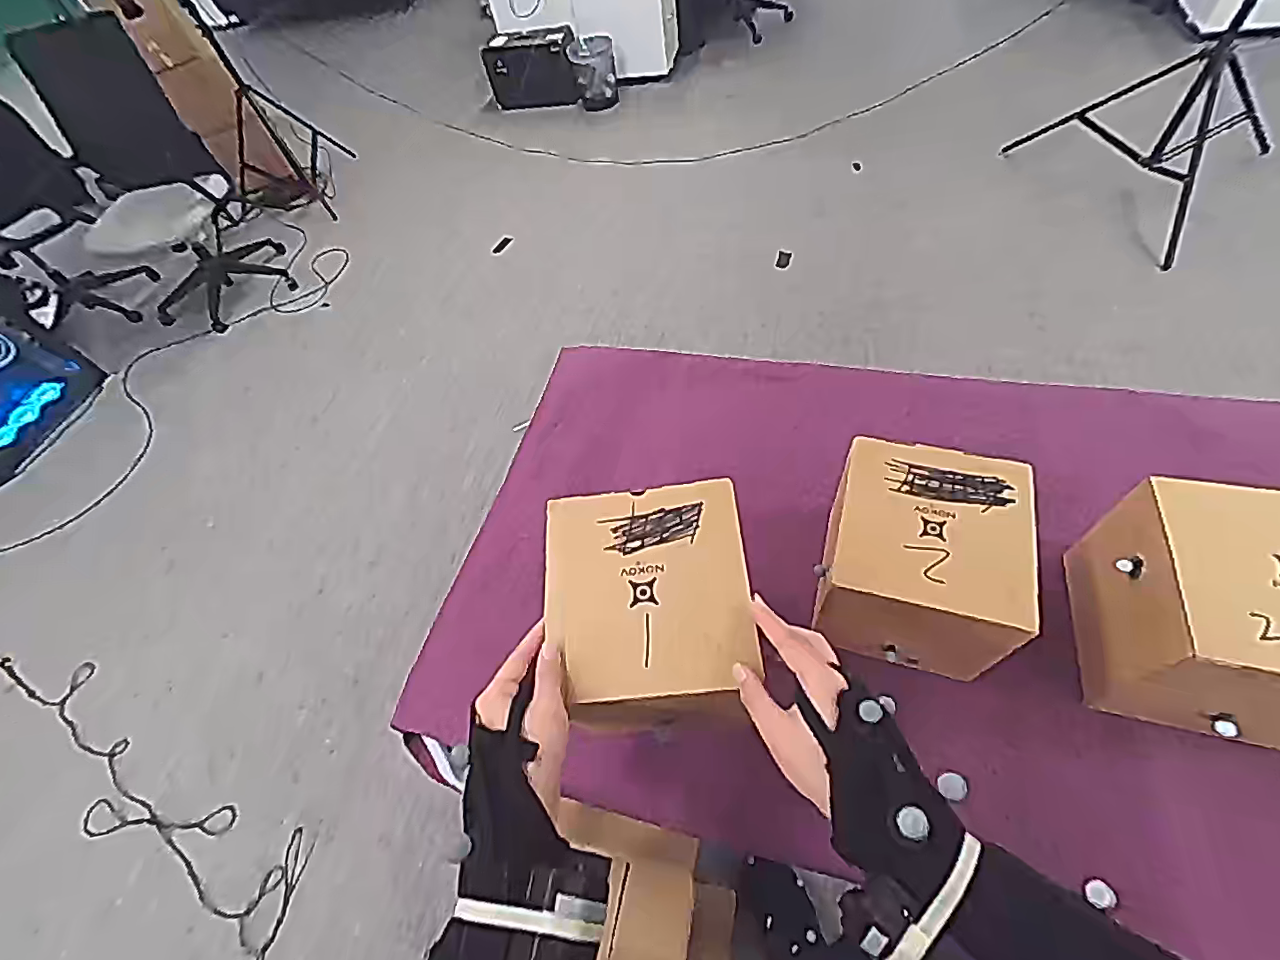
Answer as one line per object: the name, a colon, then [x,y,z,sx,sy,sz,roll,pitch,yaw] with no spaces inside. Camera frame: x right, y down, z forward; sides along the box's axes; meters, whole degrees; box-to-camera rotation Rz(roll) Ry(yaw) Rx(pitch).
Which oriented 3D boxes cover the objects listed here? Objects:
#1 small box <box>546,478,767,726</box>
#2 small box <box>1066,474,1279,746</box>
small box: [0.019,0.120,0.505,0.168,0.176,0.179,-7,58,6]
small box: [0.533,0.122,0.500,0.168,0.176,0.179,9,58,16]
